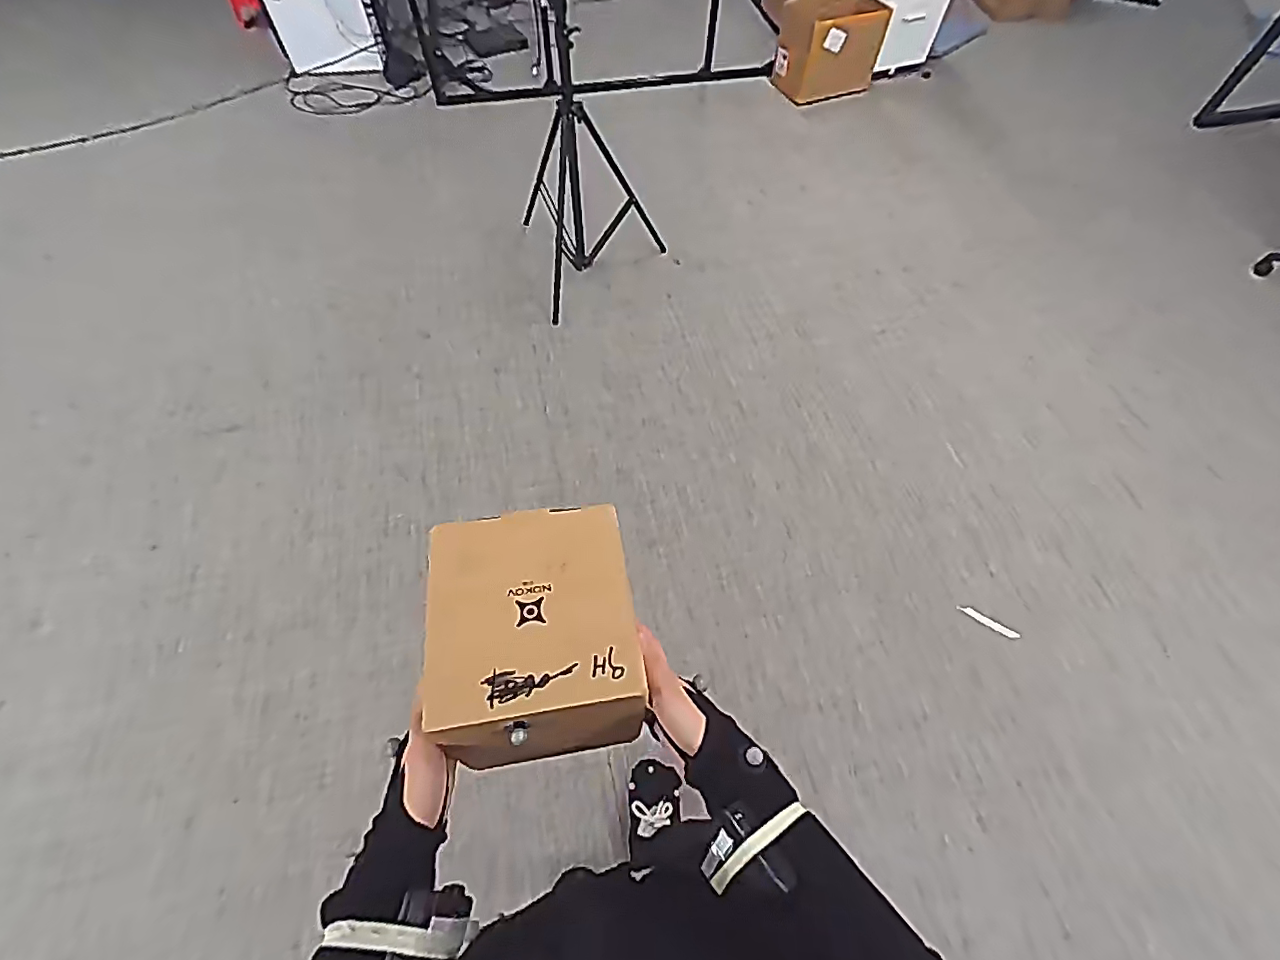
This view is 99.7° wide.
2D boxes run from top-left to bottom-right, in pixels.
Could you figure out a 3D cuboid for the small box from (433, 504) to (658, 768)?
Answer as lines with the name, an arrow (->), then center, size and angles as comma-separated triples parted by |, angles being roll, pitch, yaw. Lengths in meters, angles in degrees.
small box -> -0.085, 0.147, 0.505 | 0.168, 0.176, 0.179 | -7, 54, -9
